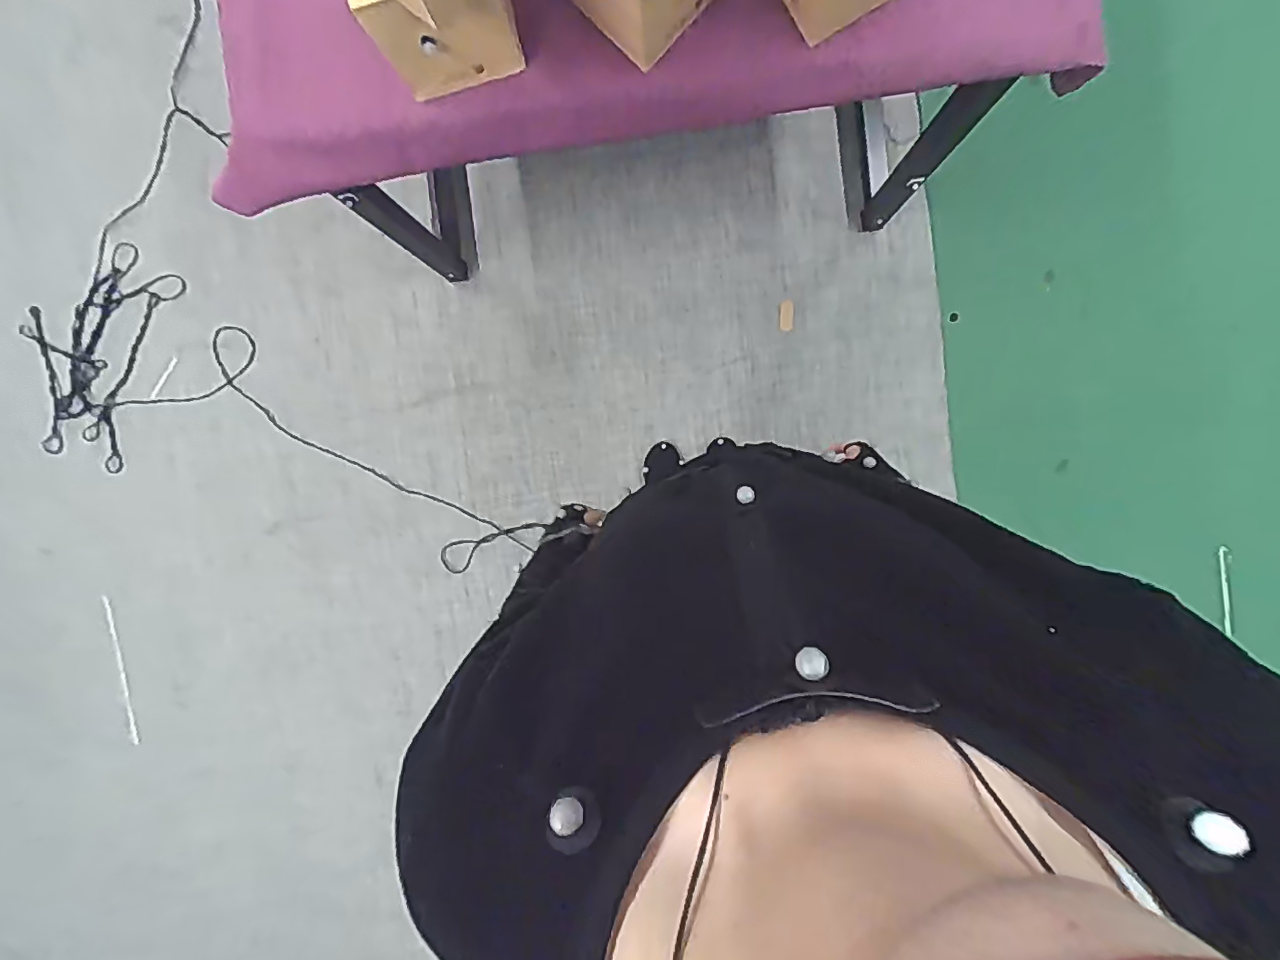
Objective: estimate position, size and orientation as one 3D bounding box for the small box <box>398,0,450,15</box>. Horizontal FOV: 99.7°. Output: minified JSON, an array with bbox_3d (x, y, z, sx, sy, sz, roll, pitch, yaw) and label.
[{"bbox_3d":[-0.247,-0.613,0.520,0.179,0.176,0.168,38,93,1],"label":"small box"}]

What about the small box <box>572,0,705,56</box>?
[{"bbox_3d":[-0.005,-0.678,0.663,0.168,0.176,0.179,-44,89,4],"label":"small box"}]

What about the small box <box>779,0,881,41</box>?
[{"bbox_3d":[0.255,-0.697,0.647,0.179,0.176,0.168,-29,89,5],"label":"small box"}]

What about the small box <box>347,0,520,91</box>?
[{"bbox_3d":[-0.266,-0.638,0.685,0.168,0.176,0.179,-14,91,4],"label":"small box"}]
